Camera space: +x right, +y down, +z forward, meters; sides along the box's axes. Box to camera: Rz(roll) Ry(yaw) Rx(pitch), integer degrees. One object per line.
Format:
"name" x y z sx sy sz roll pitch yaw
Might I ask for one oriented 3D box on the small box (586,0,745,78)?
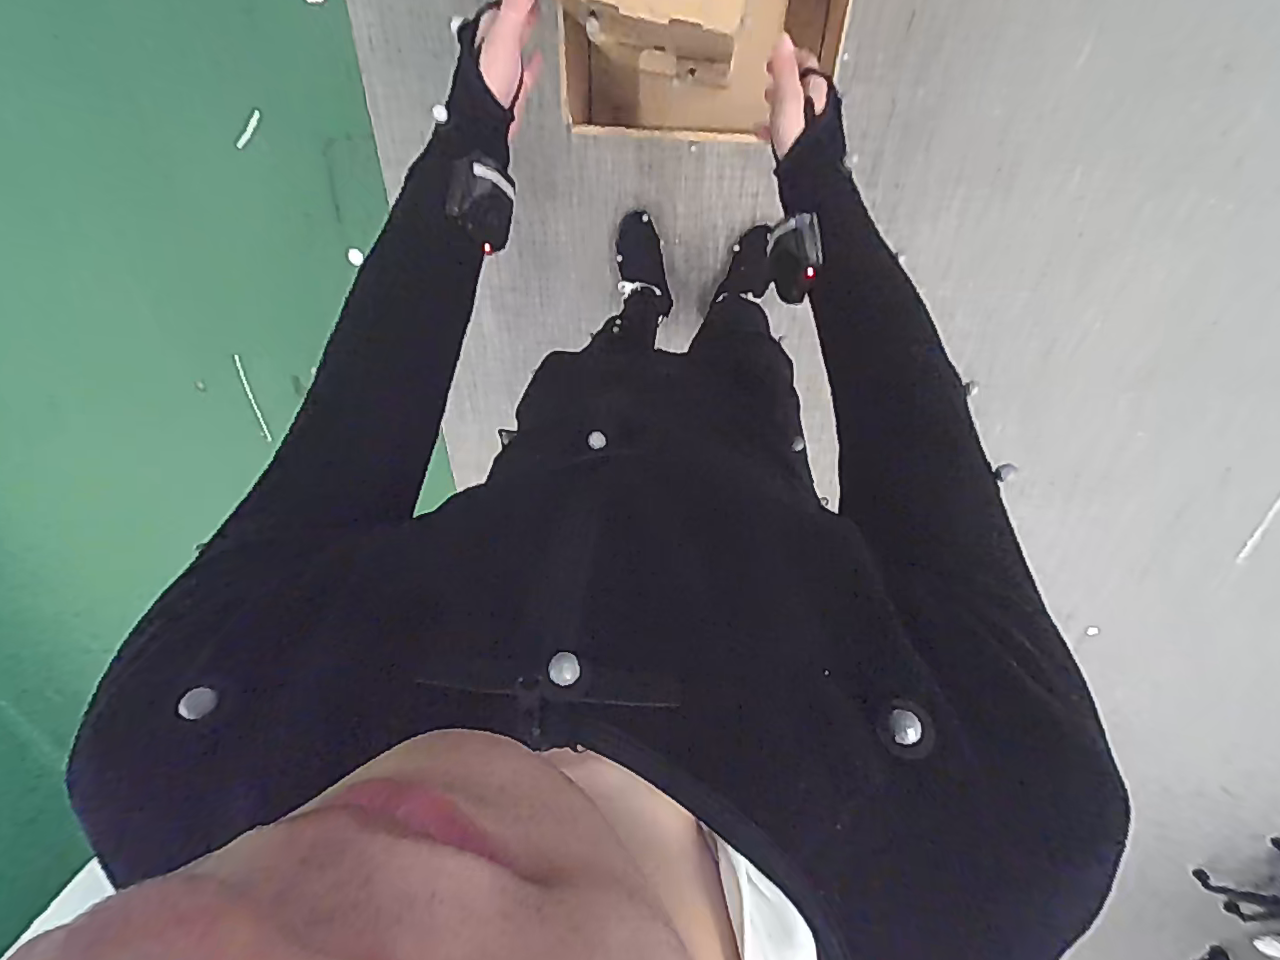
"small box" 0.044 -0.594 0.627 0.168 0.176 0.179 13 121 0
